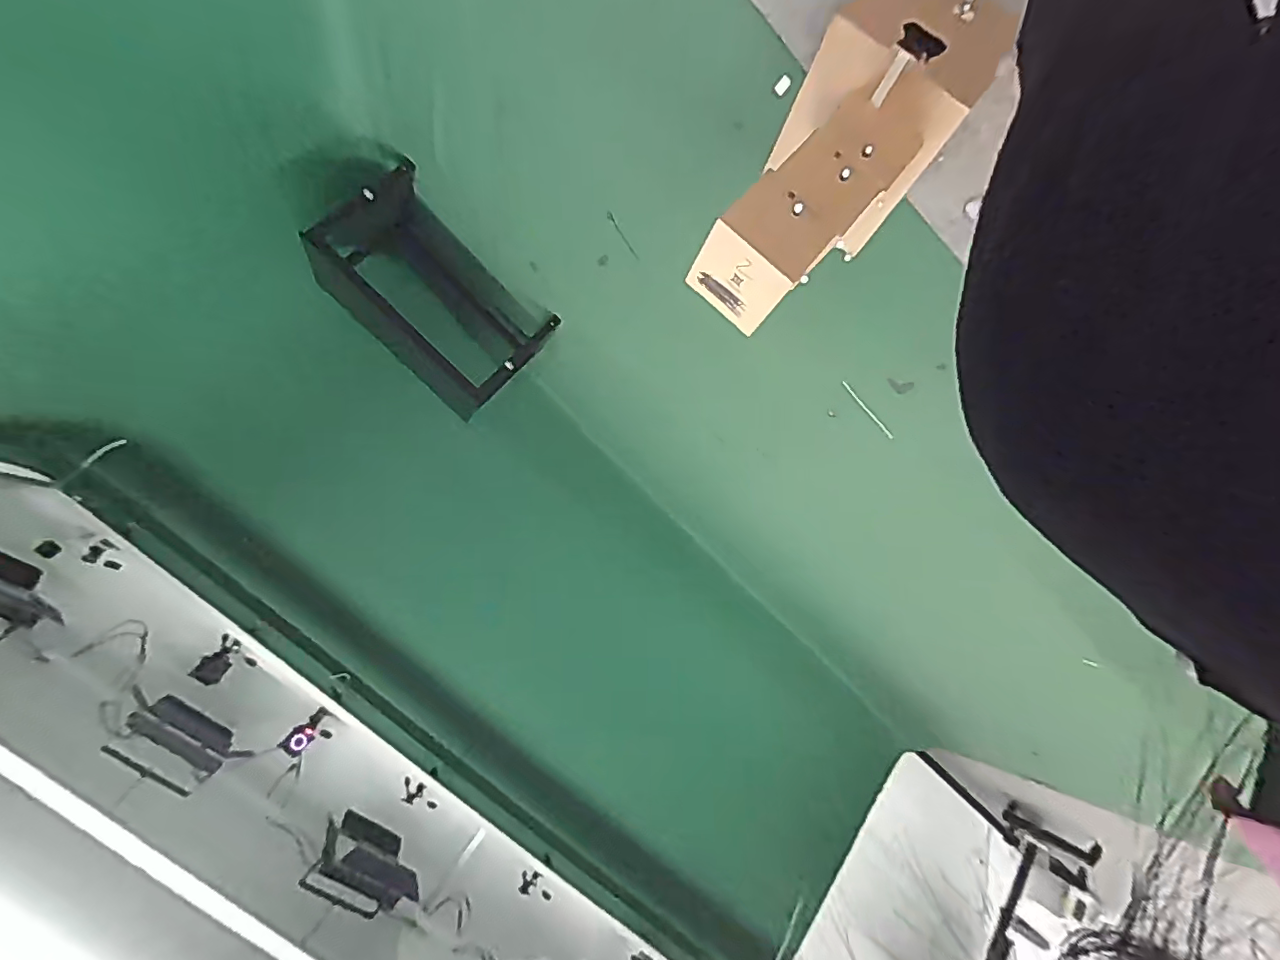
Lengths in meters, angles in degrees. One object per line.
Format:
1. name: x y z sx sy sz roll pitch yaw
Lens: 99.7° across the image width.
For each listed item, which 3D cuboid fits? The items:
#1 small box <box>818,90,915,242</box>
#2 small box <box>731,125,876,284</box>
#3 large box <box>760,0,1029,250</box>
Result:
1. small box: 0.417 -0.639 1.101 0.179 0.176 0.168 40 160 -2
2. small box: 0.314 -0.527 1.043 0.168 0.176 0.179 41 160 -3
3. large box: 0.536 -0.828 1.208 0.320 0.320 0.408 40 162 4
